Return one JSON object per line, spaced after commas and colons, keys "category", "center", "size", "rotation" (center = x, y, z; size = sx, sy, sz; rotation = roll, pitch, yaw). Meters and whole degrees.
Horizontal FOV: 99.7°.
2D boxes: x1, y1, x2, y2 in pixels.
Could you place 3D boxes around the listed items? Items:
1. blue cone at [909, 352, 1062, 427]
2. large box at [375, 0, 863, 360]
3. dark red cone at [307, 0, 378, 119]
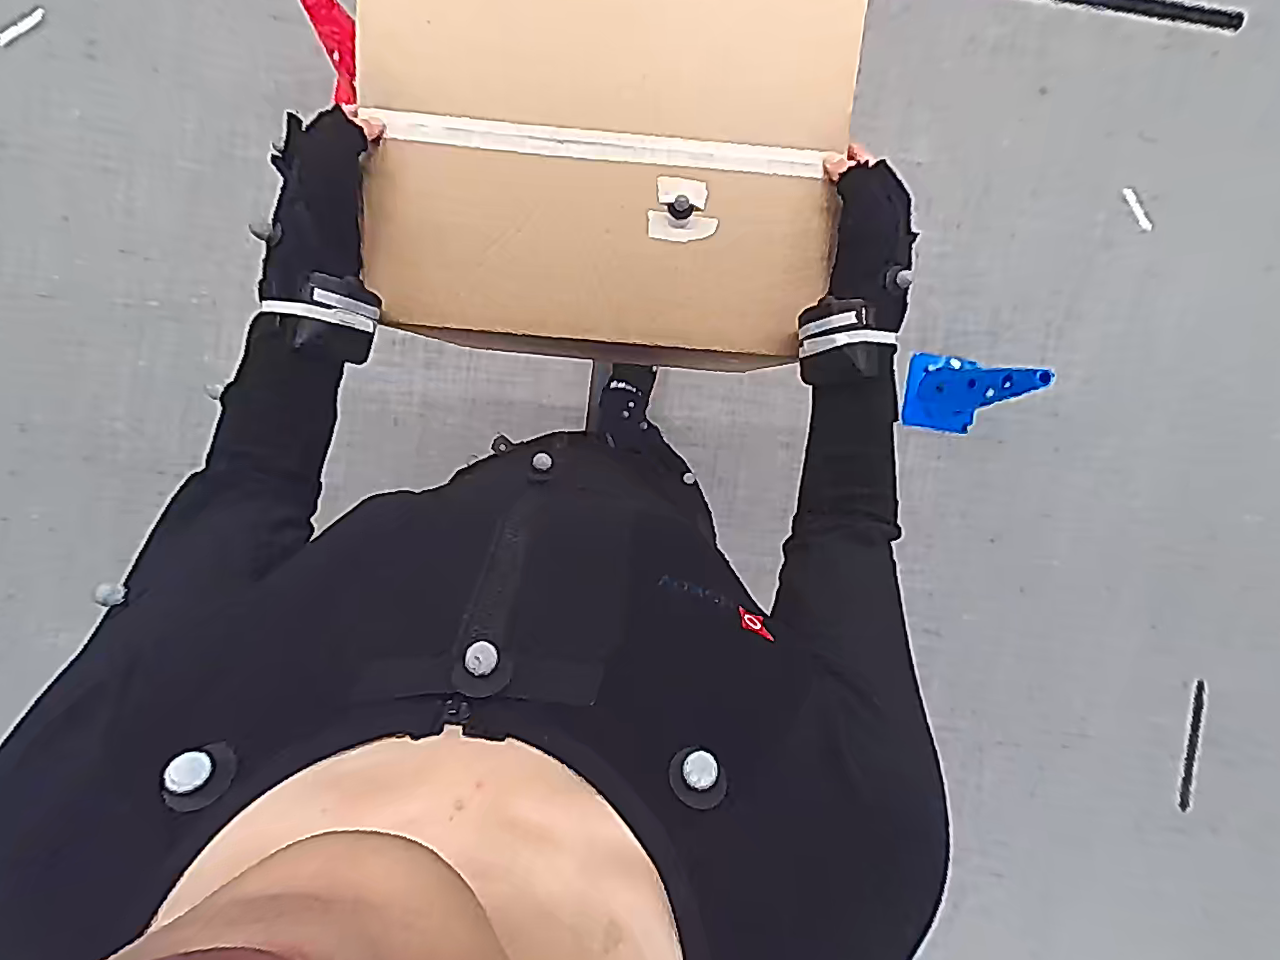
{"category": "blue cone", "center": [0.846, -0.236, 1.317], "size": [0.192, 0.380, 0.193], "rotation": [9, 94, -4]}
{"category": "large box", "center": [-0.028, -0.311, 0.602], "size": [0.408, 0.320, 0.320], "rotation": [4, 99, -3]}
{"category": "dark red cone", "center": [-0.644, -0.975, 1.159], "size": [0.201, 0.394, 0.202], "rotation": [12, 93, -4]}
